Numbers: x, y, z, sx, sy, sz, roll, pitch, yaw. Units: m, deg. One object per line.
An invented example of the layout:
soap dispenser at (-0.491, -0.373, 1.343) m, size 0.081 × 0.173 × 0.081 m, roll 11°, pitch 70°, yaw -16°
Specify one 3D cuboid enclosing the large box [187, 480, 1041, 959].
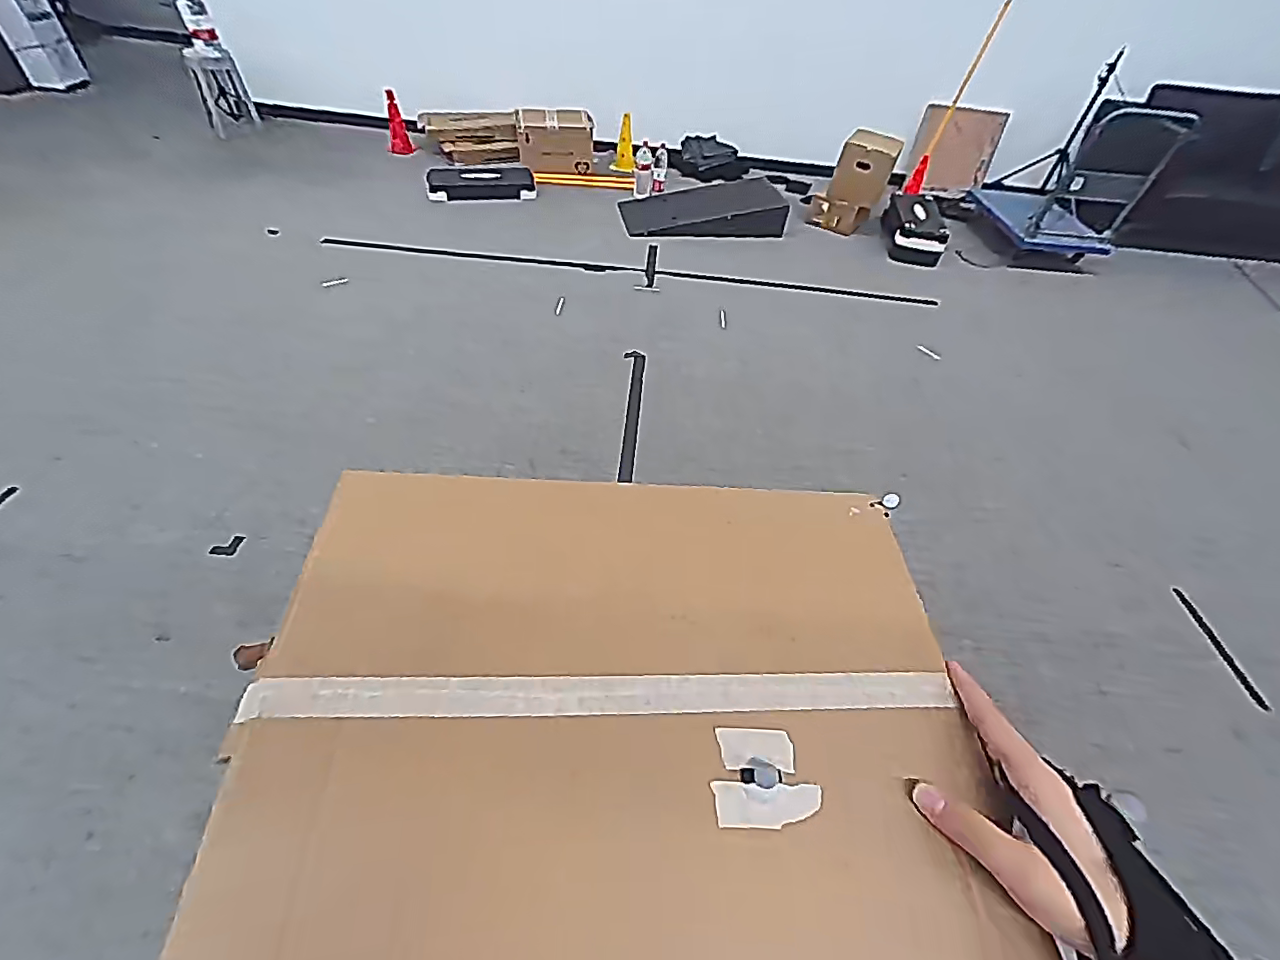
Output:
large box at (-0.024, 0.220, 0.438) m, size 0.408 × 0.320 × 0.320 m, roll 3°, pitch 52°, yaw -8°
